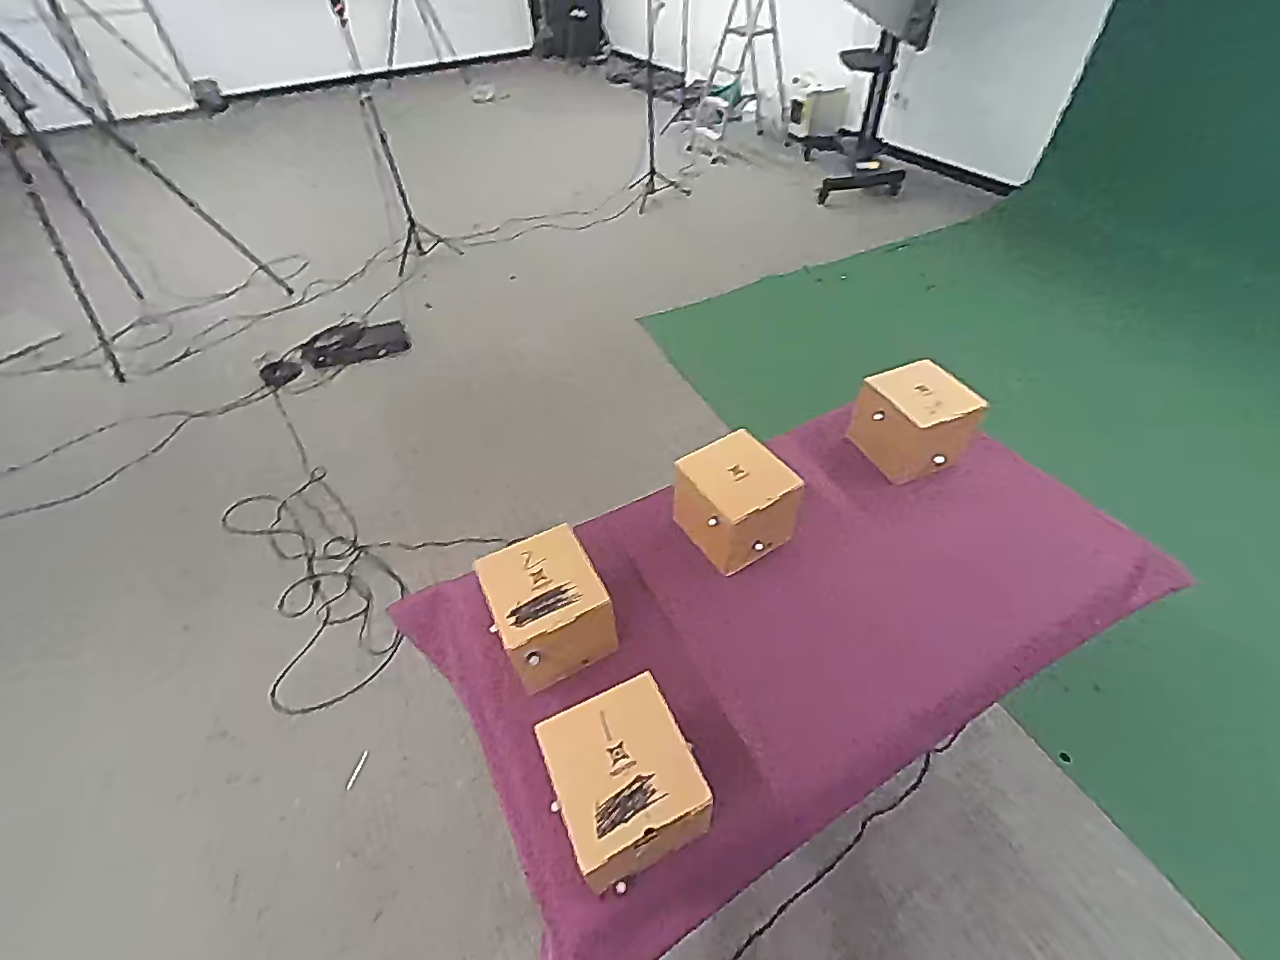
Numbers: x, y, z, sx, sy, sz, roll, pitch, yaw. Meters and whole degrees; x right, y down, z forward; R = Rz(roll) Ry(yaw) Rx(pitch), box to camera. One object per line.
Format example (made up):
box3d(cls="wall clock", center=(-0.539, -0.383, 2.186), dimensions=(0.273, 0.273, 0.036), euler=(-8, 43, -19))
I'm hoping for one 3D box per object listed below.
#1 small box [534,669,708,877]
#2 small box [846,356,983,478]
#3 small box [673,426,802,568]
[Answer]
box3d(cls="small box", center=(-0.024, 0.392, 0.717), dimensions=(0.168, 0.176, 0.179), euler=(-21, 49, -16))
box3d(cls="small box", center=(0.575, -0.134, 1.163), dimensions=(0.168, 0.176, 0.179), euler=(-19, 51, -13))
box3d(cls="small box", center=(0.175, 0.033, 1.035), dimensions=(0.168, 0.176, 0.179), euler=(-27, 53, -20))
